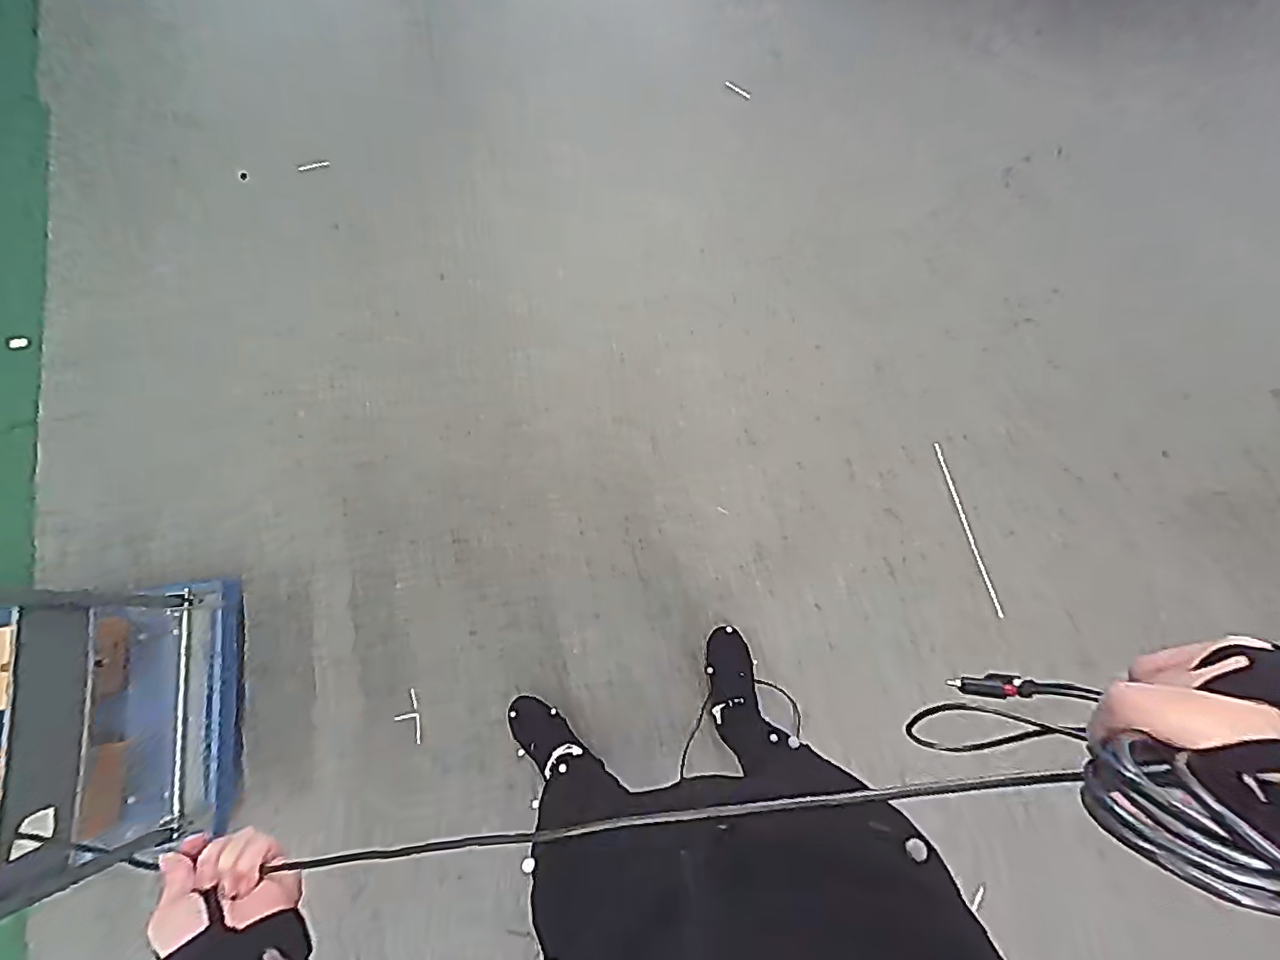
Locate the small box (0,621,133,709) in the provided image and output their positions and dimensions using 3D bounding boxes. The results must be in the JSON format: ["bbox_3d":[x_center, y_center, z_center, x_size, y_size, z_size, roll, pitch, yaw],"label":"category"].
[{"bbox_3d":[-1.286,0.404,1.189,0.179,0.176,0.168,-7,77,-1],"label":"small box"}]

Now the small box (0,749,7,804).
[{"bbox_3d":[-1.503,0.680,1.129,0.179,0.176,0.168,-11,76,-1],"label":"small box"}]
